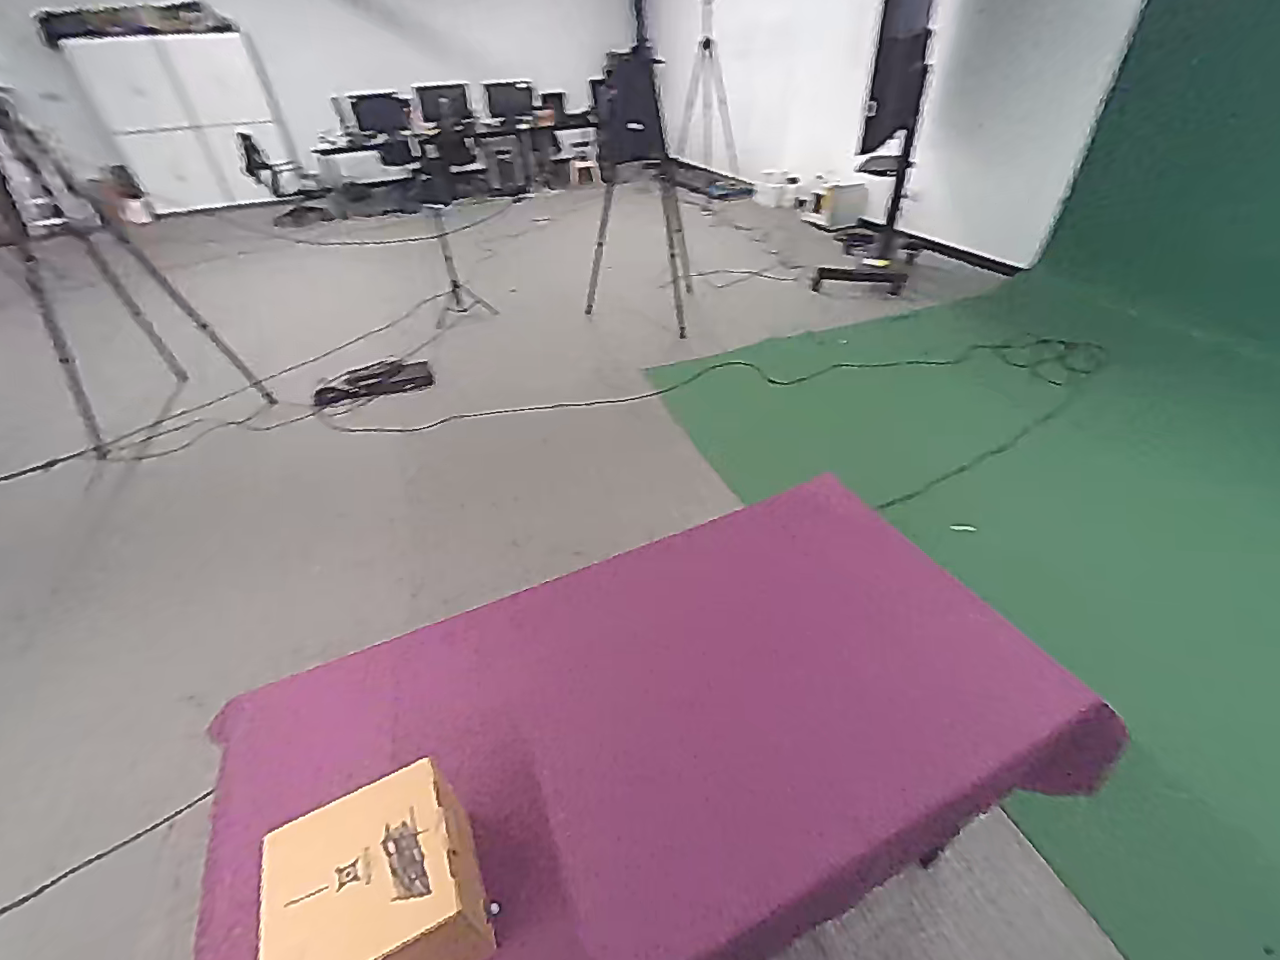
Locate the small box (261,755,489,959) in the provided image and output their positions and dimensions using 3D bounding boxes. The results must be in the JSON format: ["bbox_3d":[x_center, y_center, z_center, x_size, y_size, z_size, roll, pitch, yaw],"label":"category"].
[{"bbox_3d":[-0.278,0.449,0.592,0.179,0.176,0.168,-21,42,-18],"label":"small box"}]
